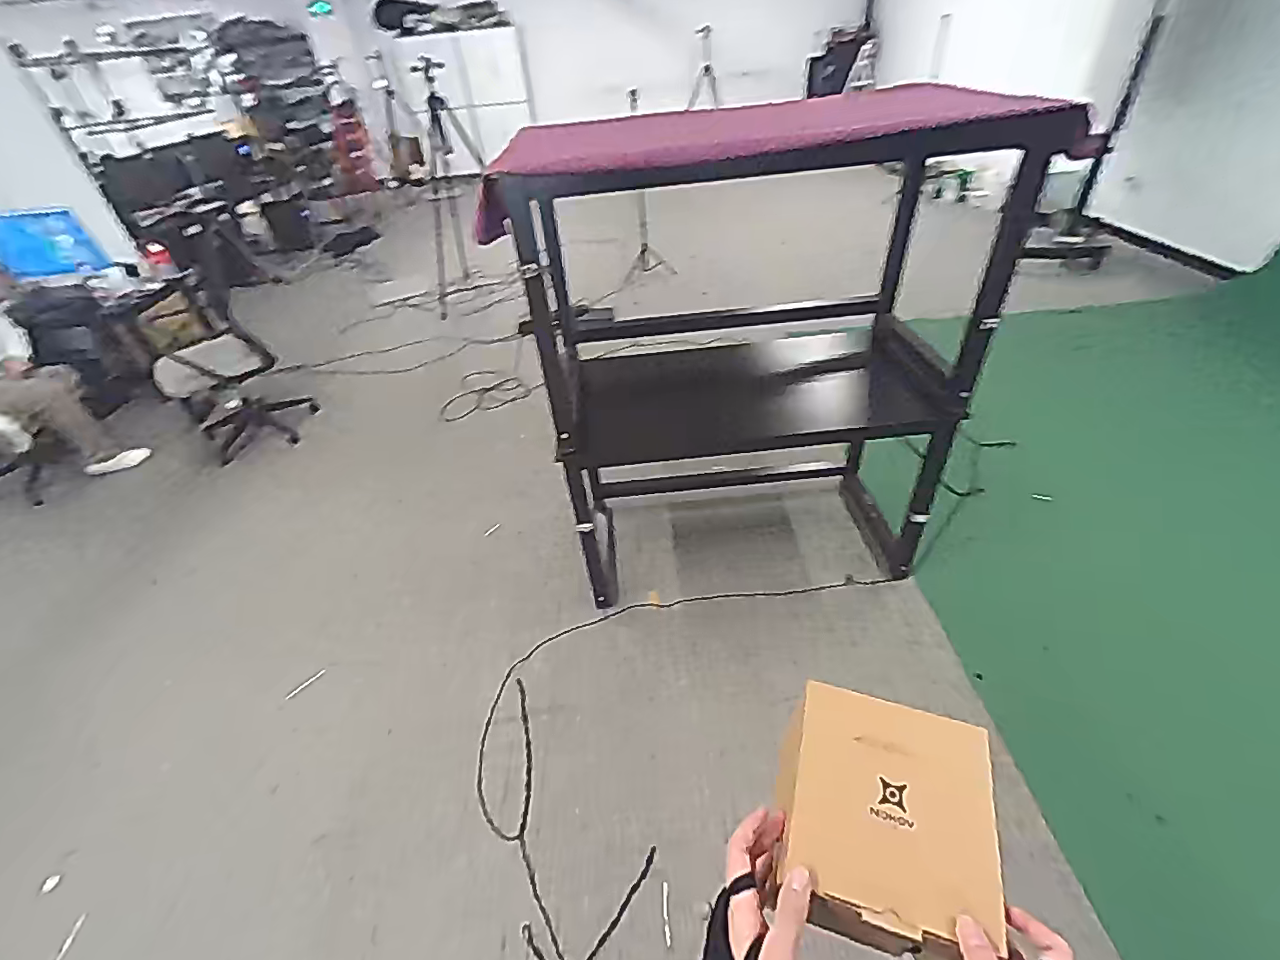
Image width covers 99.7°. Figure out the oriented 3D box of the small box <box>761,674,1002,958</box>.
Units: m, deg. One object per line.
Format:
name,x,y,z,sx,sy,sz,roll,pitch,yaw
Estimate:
small box,0.218,0.325,0.525,0.168,0.176,0.179,12,48,14
